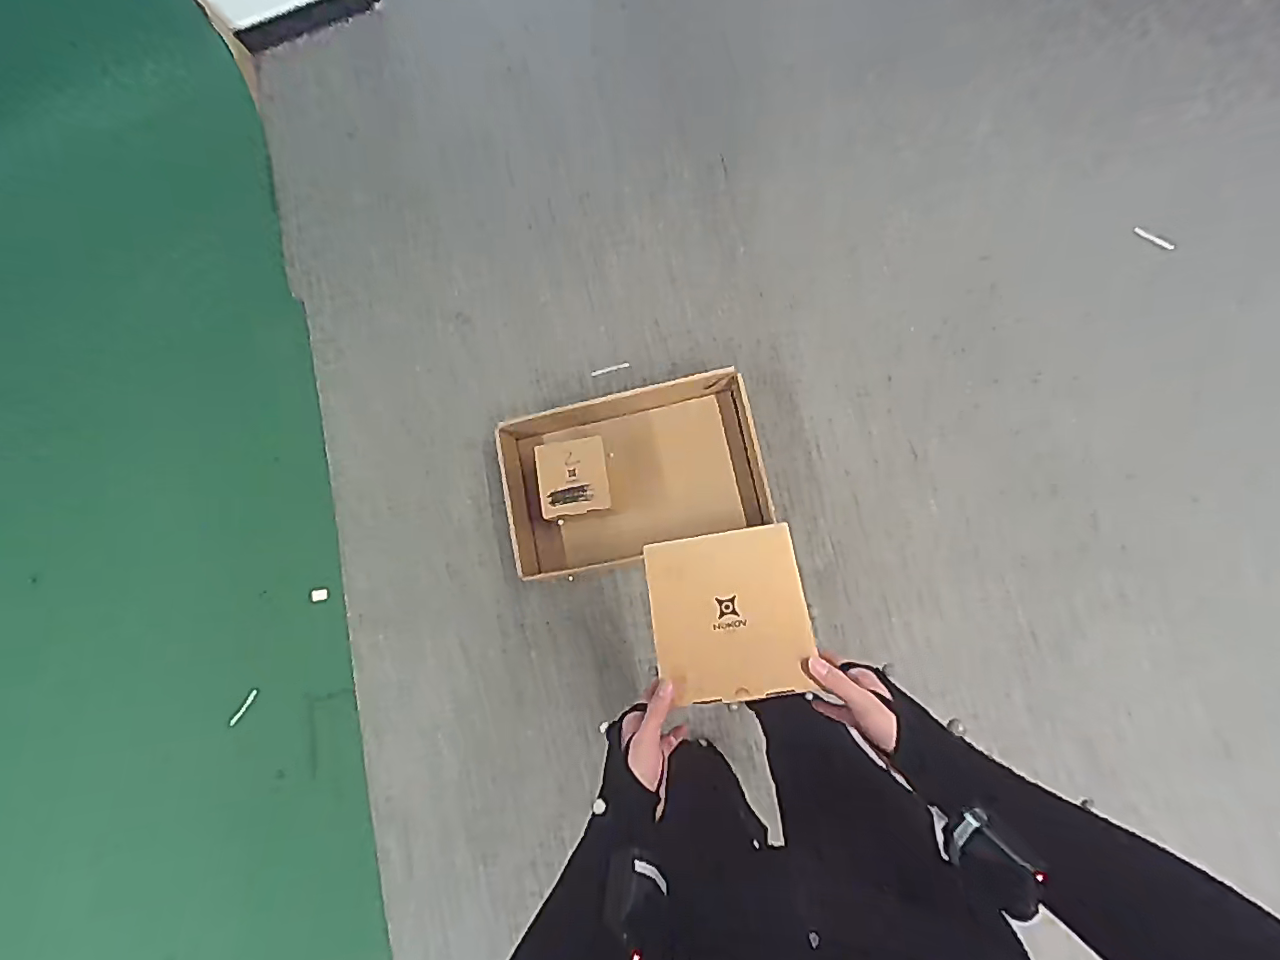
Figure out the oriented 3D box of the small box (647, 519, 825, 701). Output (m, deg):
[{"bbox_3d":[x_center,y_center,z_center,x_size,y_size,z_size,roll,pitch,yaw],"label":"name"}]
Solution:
[{"bbox_3d":[0.108,0.163,0.650,0.168,0.176,0.179,-10,68,7],"label":"small box"}]
